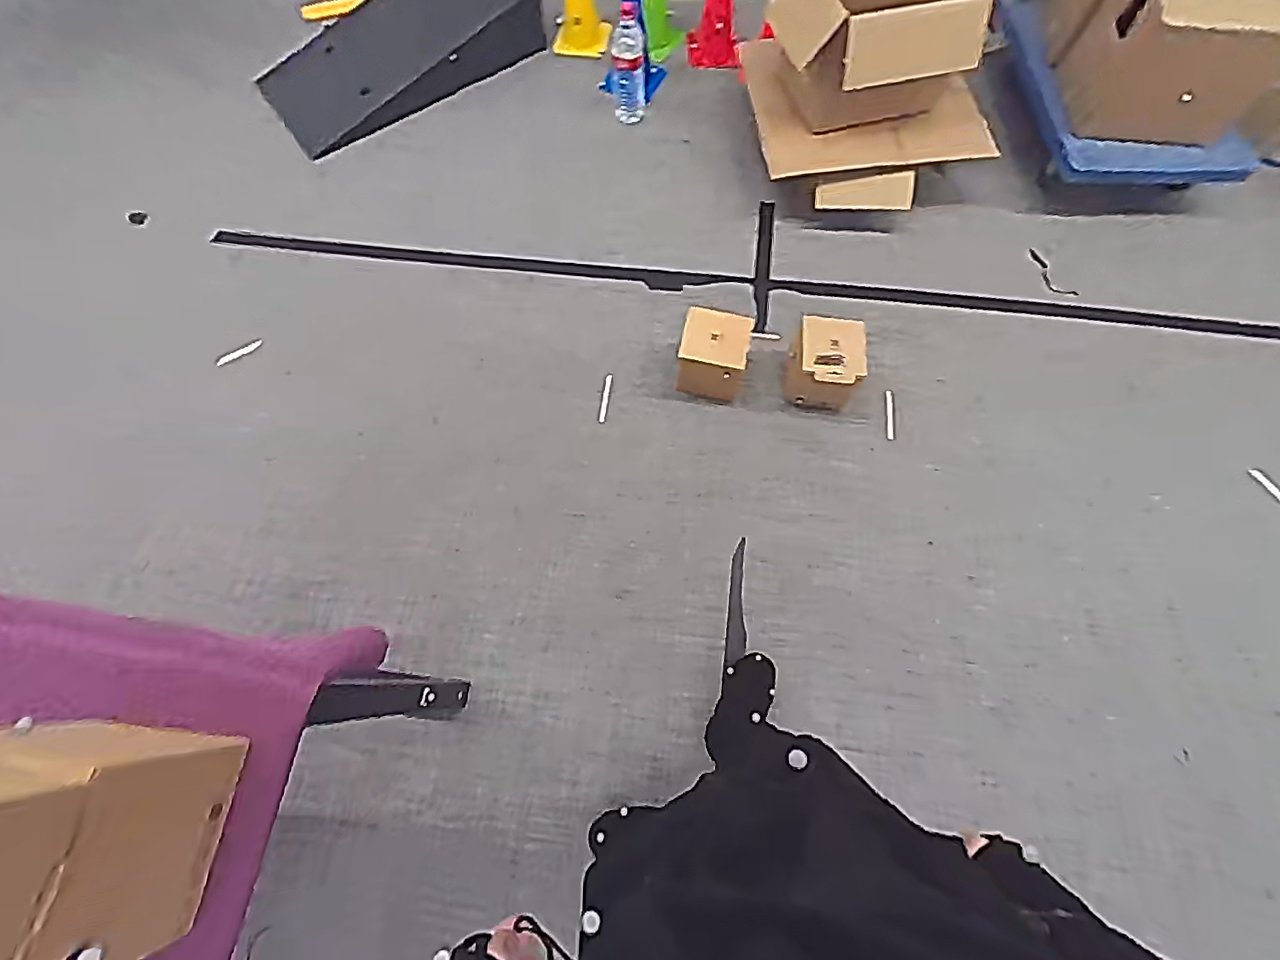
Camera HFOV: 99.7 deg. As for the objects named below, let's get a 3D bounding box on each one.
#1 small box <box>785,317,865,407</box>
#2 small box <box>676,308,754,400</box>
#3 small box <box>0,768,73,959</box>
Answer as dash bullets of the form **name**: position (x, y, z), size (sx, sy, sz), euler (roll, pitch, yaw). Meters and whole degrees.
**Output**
- **small box**: position (0.501, -0.316, 1.476), size (0.168, 0.176, 0.179), euler (6, 69, 1)
- **small box**: position (0.199, -0.339, 1.483), size (0.179, 0.176, 0.168), euler (12, 70, 4)
- **small box**: position (-0.489, 0.262, 0.291), size (0.168, 0.176, 0.179), euler (10, 70, 4)
